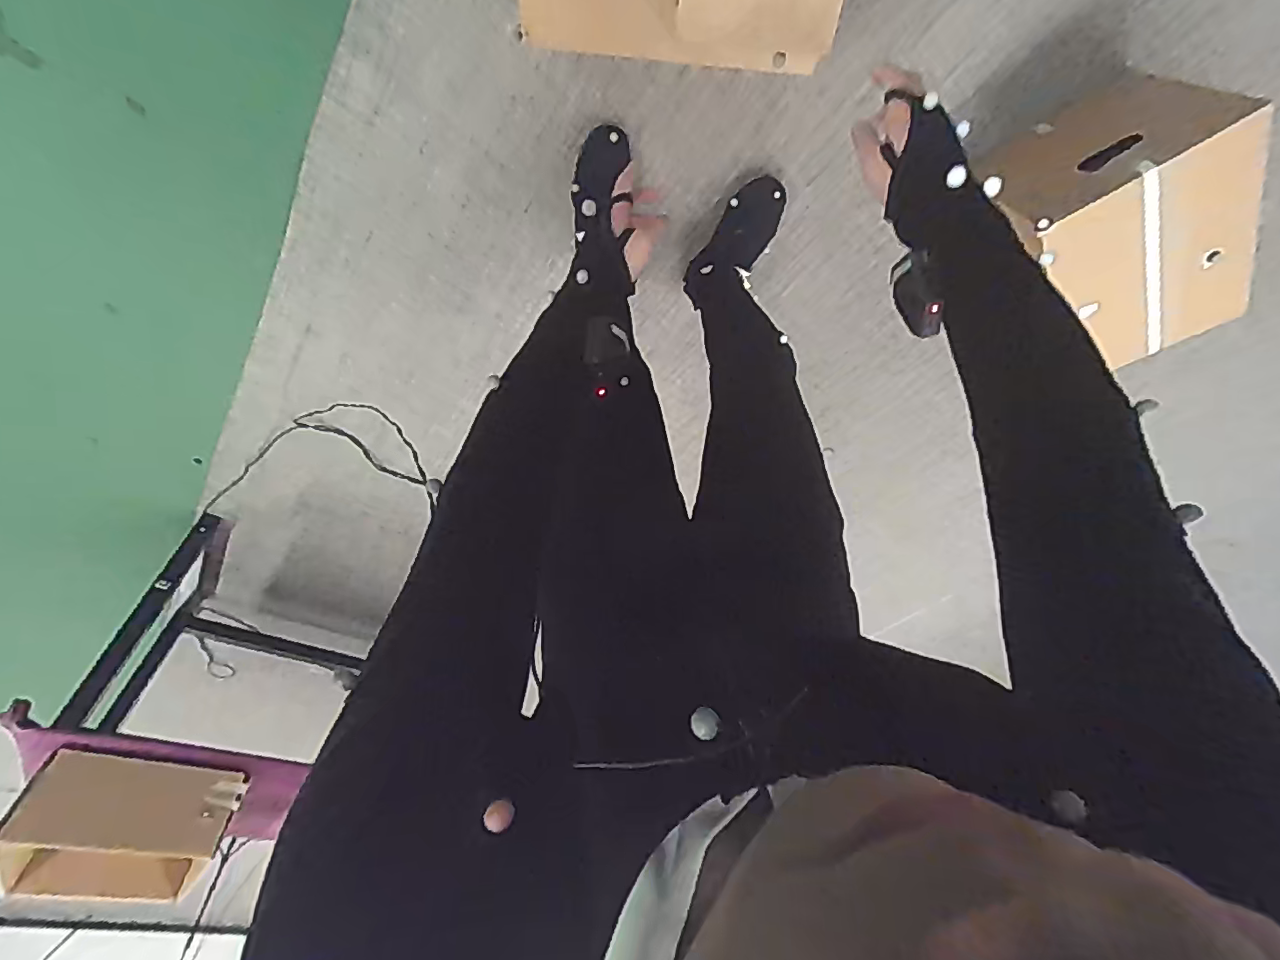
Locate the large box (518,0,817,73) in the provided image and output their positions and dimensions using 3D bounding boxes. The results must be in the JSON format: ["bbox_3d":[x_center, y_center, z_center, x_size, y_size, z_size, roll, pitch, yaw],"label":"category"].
[{"bbox_3d":[0.050,-0.779,0.732,0.408,0.320,0.320,3,133,-4],"label":"large box"}]
